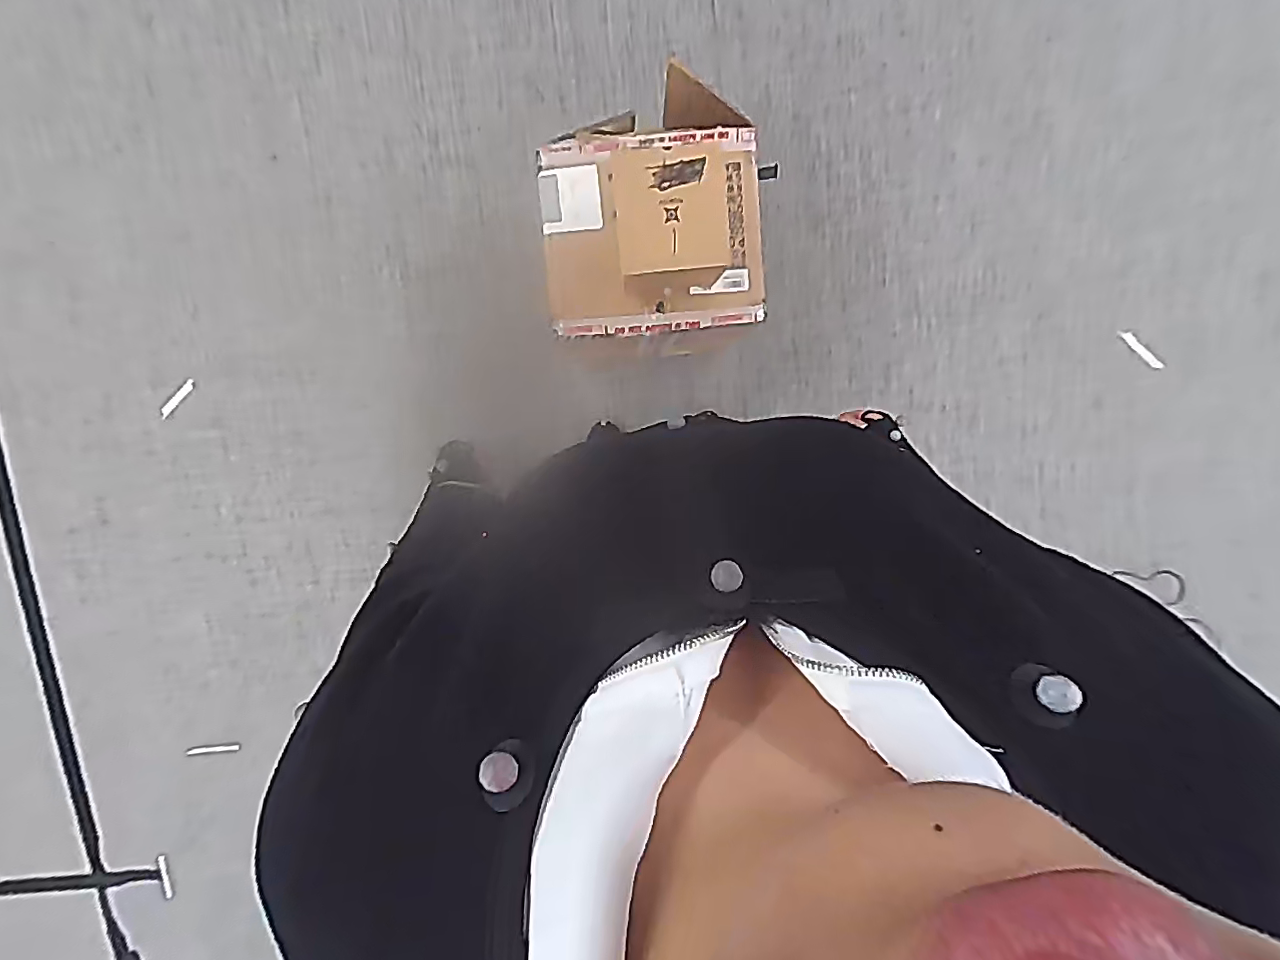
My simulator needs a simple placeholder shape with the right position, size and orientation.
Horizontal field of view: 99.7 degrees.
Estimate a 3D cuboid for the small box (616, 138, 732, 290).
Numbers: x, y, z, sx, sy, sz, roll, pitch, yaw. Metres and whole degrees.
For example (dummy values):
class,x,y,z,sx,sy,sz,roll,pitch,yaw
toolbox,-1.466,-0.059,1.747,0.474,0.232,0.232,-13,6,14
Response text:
class,x,y,z,sx,sy,sz,roll,pitch,yaw
small box,0.049,-0.417,0.875,0.168,0.176,0.179,-5,100,0
